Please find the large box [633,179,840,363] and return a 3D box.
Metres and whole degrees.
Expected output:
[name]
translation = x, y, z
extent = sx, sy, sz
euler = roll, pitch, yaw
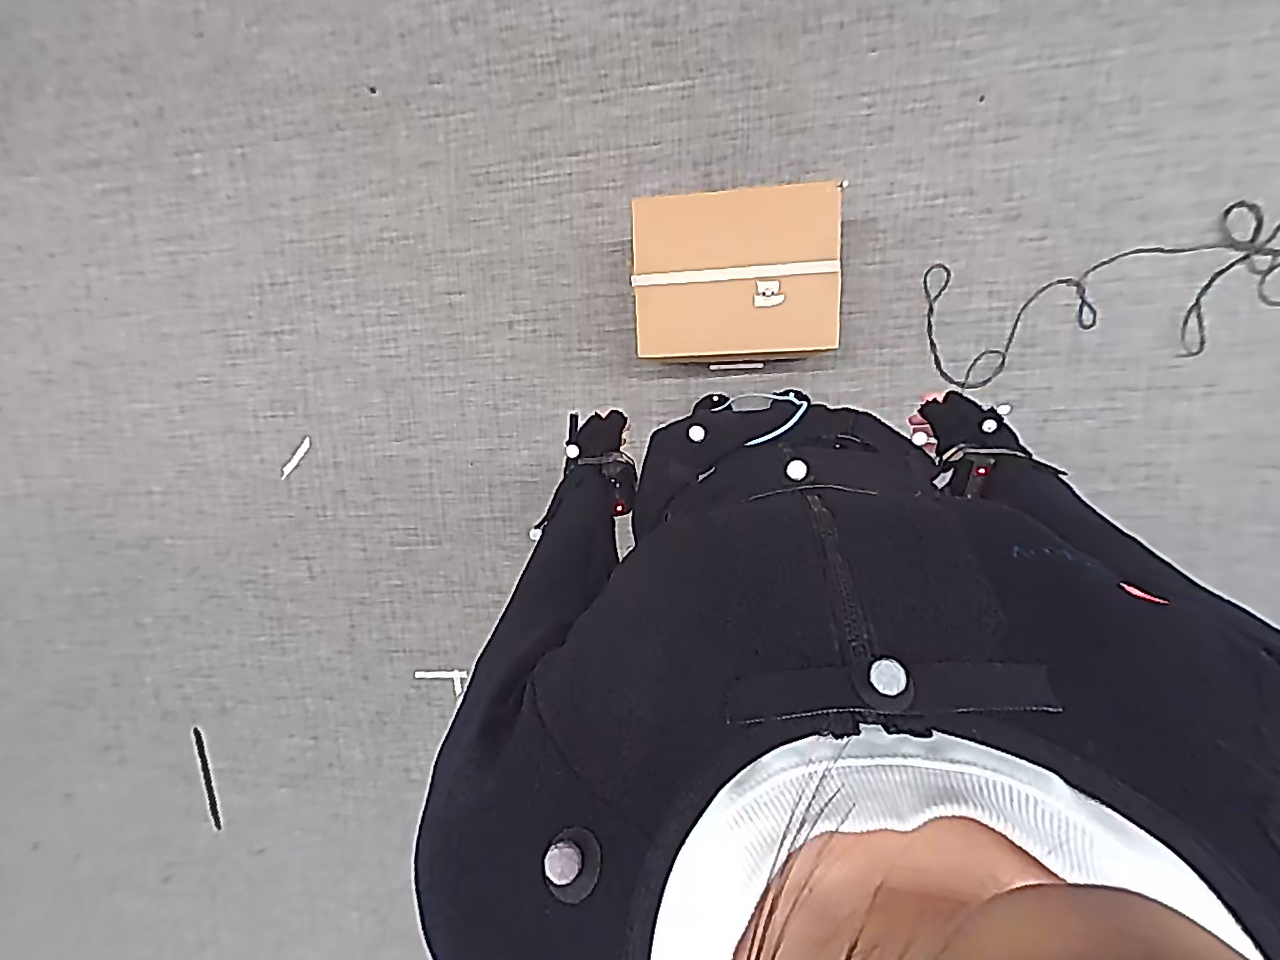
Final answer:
[large box]
translation = 0.209, -0.440, 1.222
extent = 0.408, 0.320, 0.320
euler = -1, 100, 8
